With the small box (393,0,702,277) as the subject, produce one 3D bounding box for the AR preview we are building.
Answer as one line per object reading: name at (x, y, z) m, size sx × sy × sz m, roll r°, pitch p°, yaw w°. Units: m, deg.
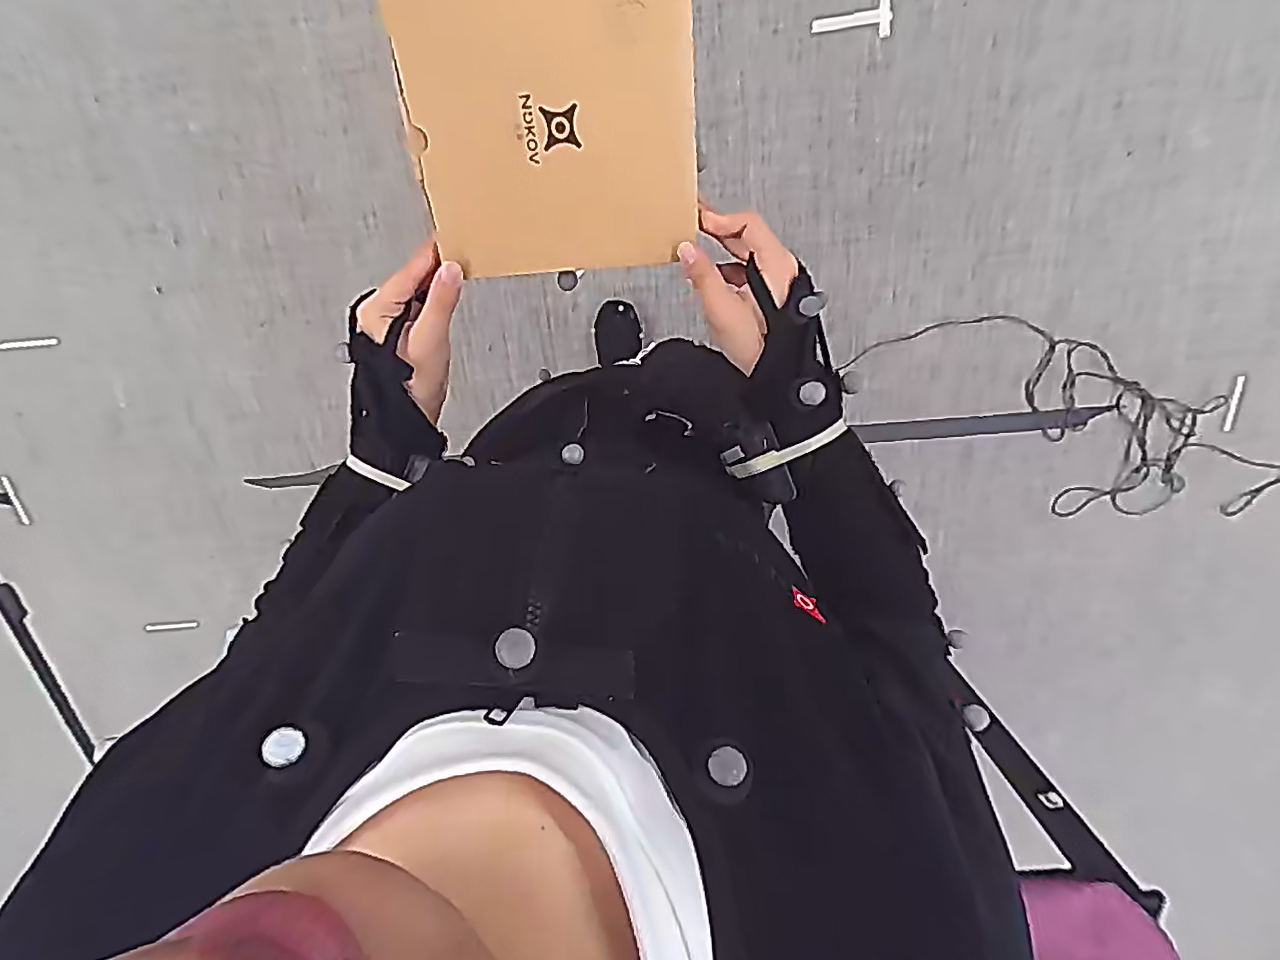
small box at (-0.050, -0.255, 0.406) m, size 0.179 × 0.176 × 0.168 m, roll -4°, pitch 118°, yaw 2°
